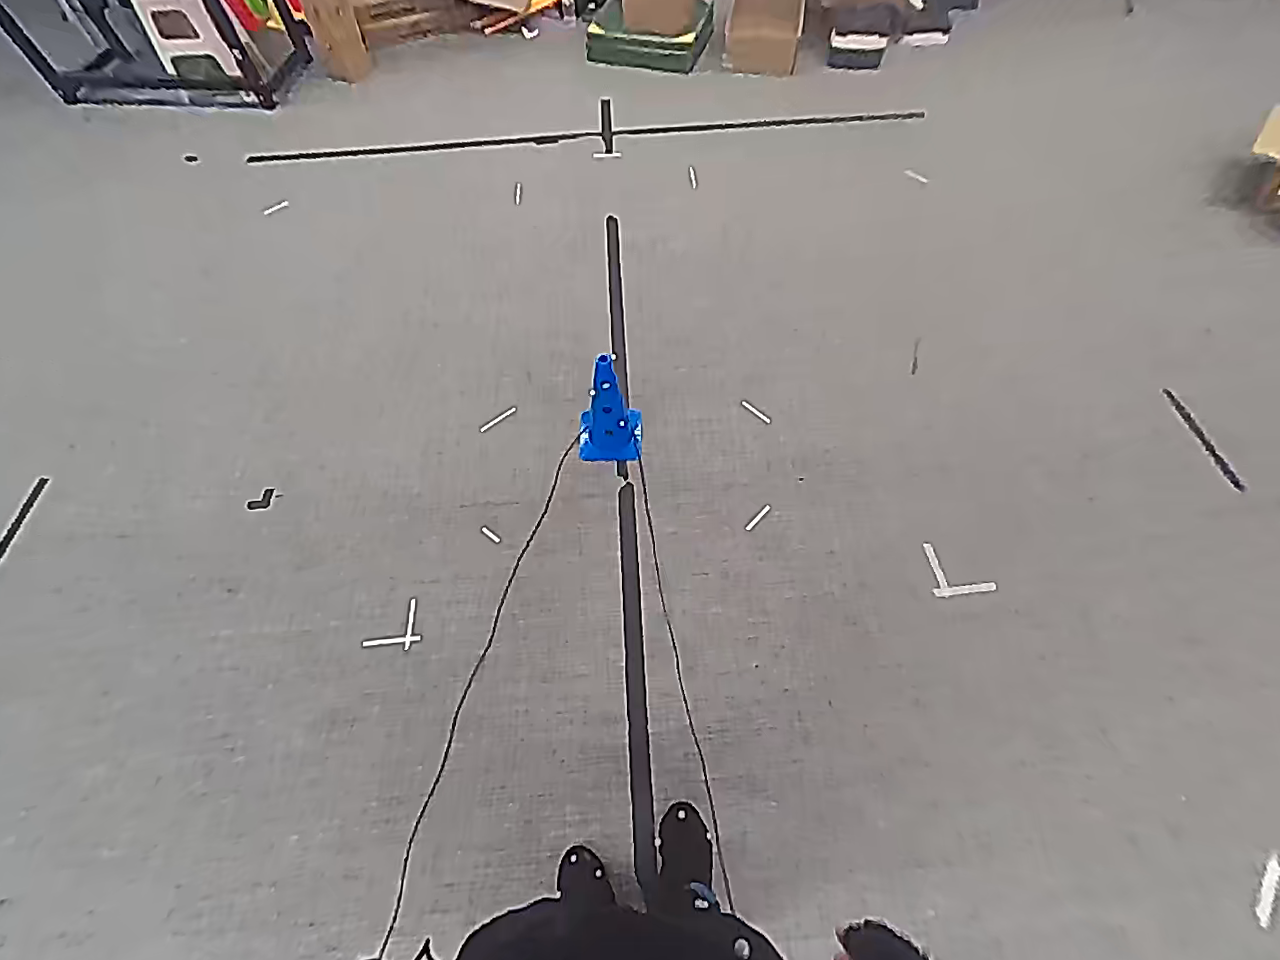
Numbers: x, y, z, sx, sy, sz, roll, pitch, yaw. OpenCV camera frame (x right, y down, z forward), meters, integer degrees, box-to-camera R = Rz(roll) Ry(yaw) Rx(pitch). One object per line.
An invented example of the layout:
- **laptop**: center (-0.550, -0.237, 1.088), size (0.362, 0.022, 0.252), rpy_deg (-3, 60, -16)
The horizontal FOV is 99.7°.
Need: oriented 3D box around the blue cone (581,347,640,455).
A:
- **blue cone**: center (-0.100, -0.242, 1.596), size (0.193, 0.380, 0.192), rpy_deg (-2, 60, 0)
